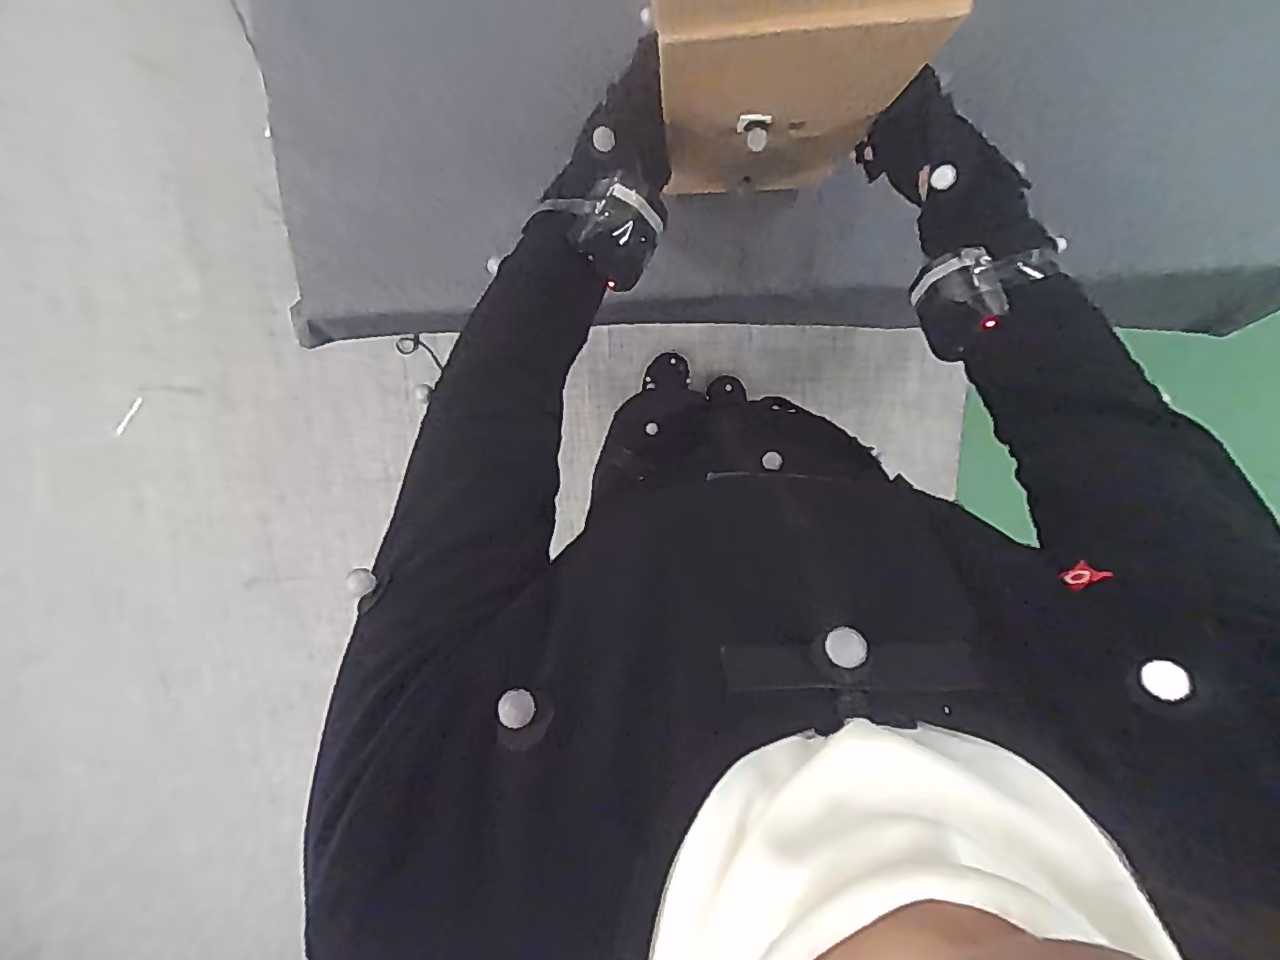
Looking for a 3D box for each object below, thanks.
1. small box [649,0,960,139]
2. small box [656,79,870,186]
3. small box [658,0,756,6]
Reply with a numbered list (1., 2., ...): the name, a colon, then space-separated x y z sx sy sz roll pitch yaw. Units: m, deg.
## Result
1. small box: 0.090 -0.348 0.345 0.168 0.176 0.179 -1 105 6
2. small box: 0.103 -0.387 0.503 0.179 0.176 0.168 0 104 3
3. small box: 0.076 -0.310 0.185 0.179 0.176 0.168 -2 104 6
